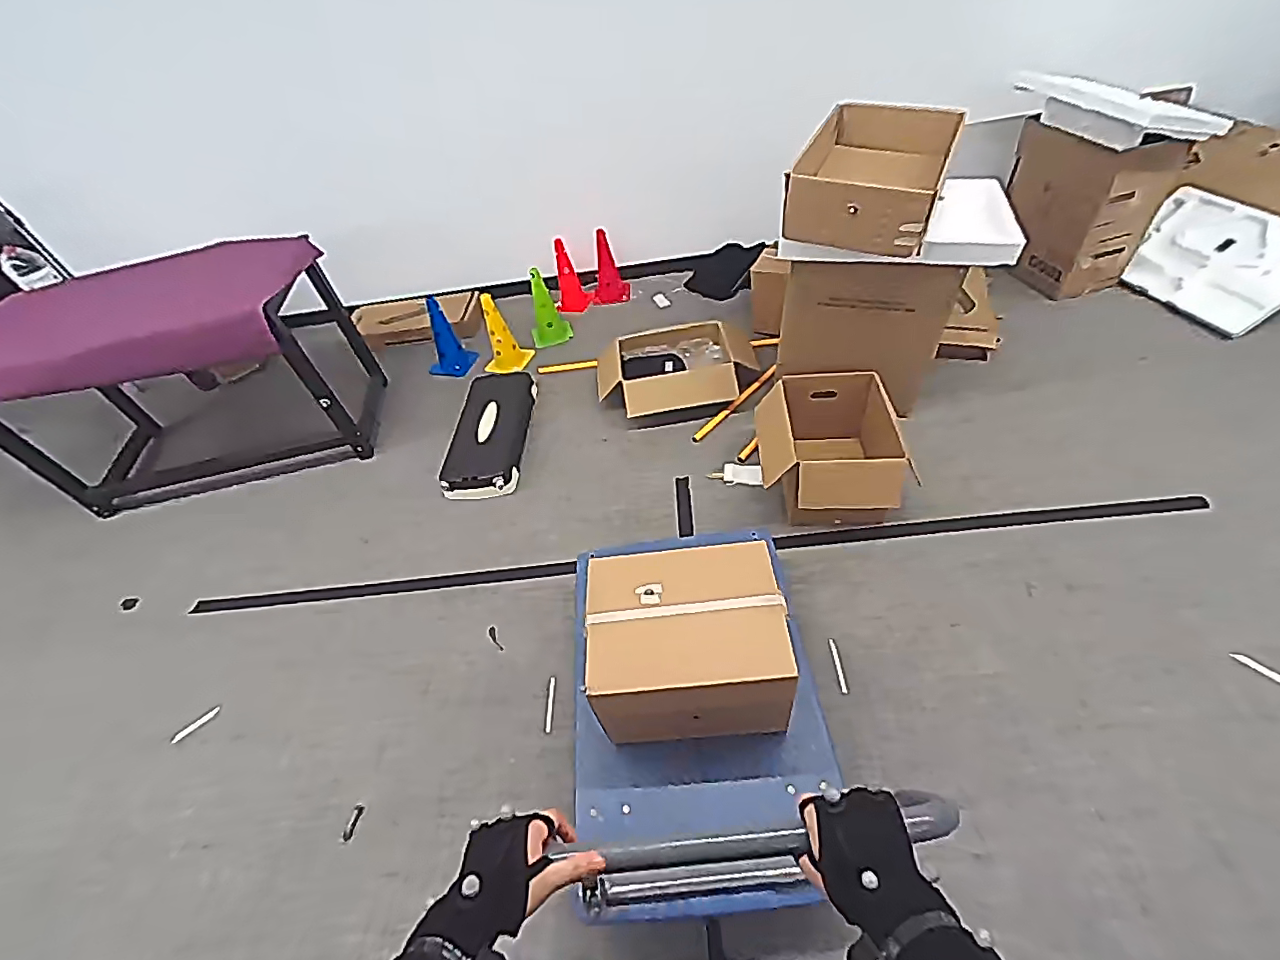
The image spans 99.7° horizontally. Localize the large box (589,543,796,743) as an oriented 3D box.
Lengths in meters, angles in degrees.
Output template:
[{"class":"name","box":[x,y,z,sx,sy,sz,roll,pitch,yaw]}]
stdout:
[{"class":"large box","box":[0.112,0.380,1.238,0.408,0.320,0.320,-8,46,4]}]
